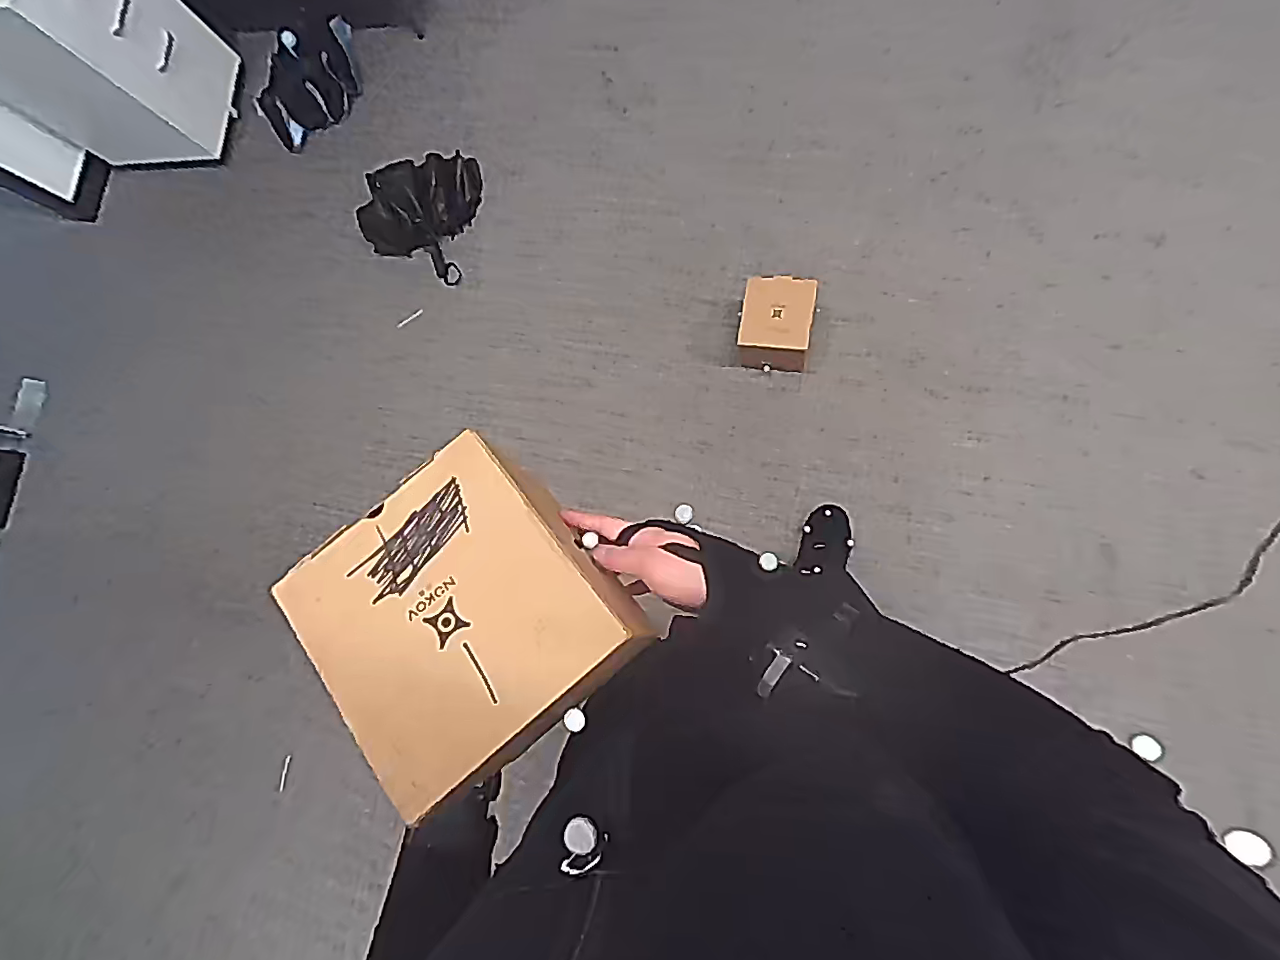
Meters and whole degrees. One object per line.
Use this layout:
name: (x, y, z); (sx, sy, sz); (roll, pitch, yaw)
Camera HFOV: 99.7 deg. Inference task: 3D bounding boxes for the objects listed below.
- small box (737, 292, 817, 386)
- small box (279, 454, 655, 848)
small box: (0.344, -0.351, 1.363); (0.168, 0.176, 0.179); (9, 85, 15)
small box: (-0.108, 0.115, 0.405); (0.168, 0.176, 0.179); (-40, 73, -4)
